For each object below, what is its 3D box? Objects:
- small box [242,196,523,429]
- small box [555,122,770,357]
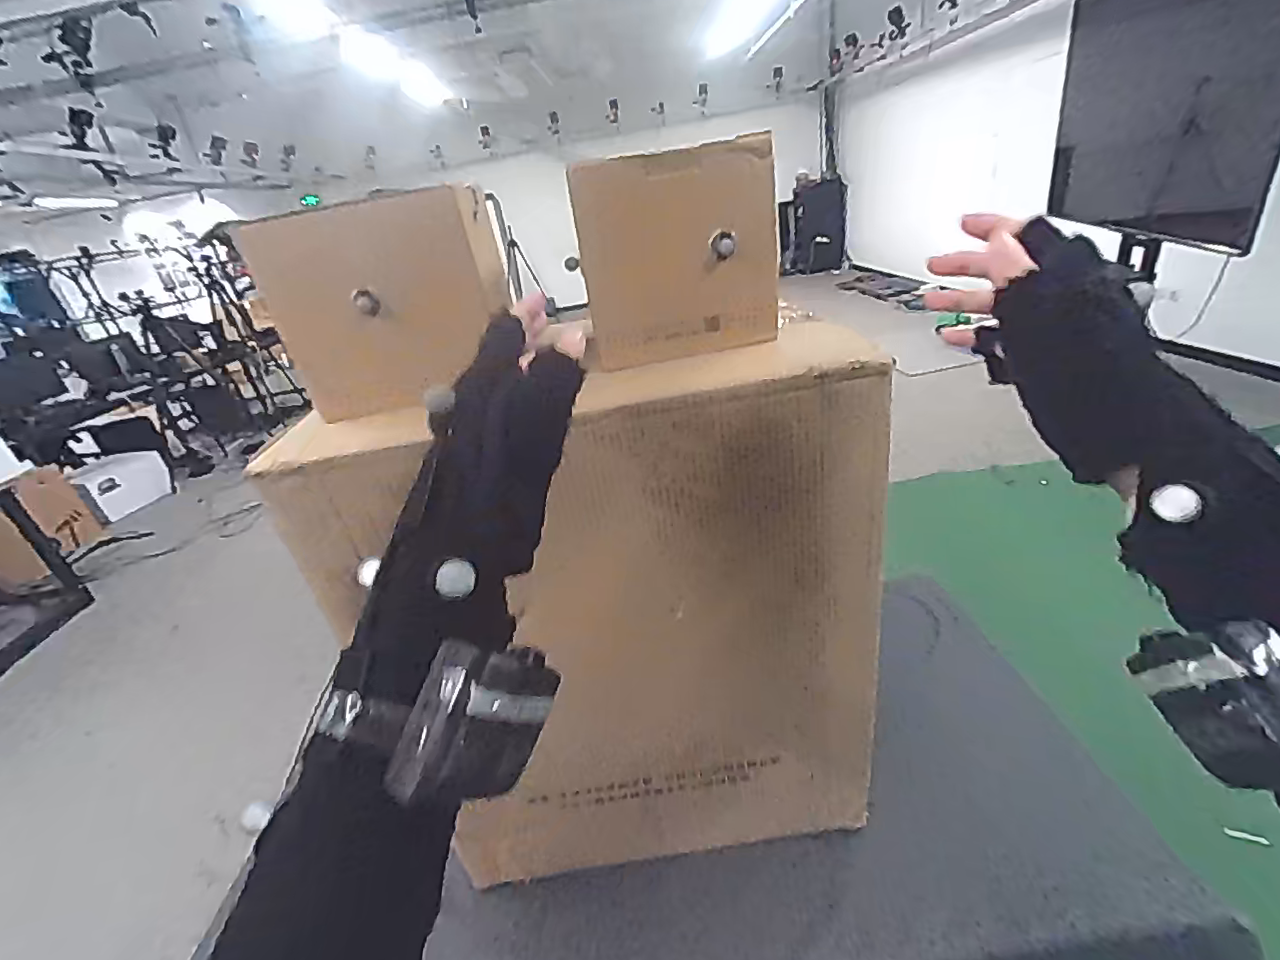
[{"bbox_3d":[-0.223,-0.168,0.532,0.179,0.176,0.168,-12,29,-1],"label":"small box"},{"bbox_3d":[0.019,-0.228,0.525,0.168,0.176,0.179,-13,30,-5],"label":"small box"}]
